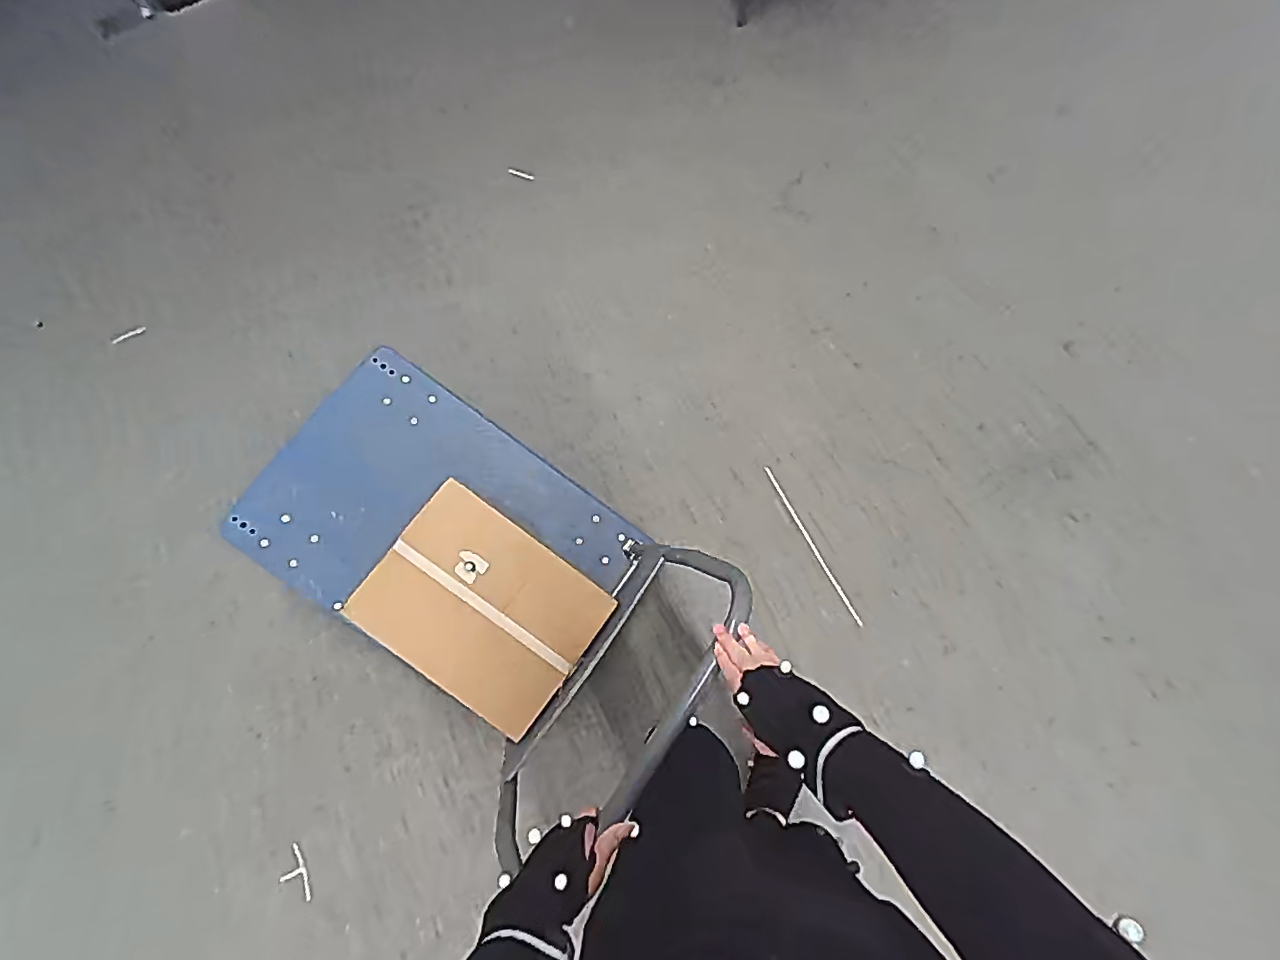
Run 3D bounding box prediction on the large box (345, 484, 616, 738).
[{"bbox_3d":[-0.308,0.260,1.155,0.408,0.320,0.320,37,78,-2],"label":"large box"}]
